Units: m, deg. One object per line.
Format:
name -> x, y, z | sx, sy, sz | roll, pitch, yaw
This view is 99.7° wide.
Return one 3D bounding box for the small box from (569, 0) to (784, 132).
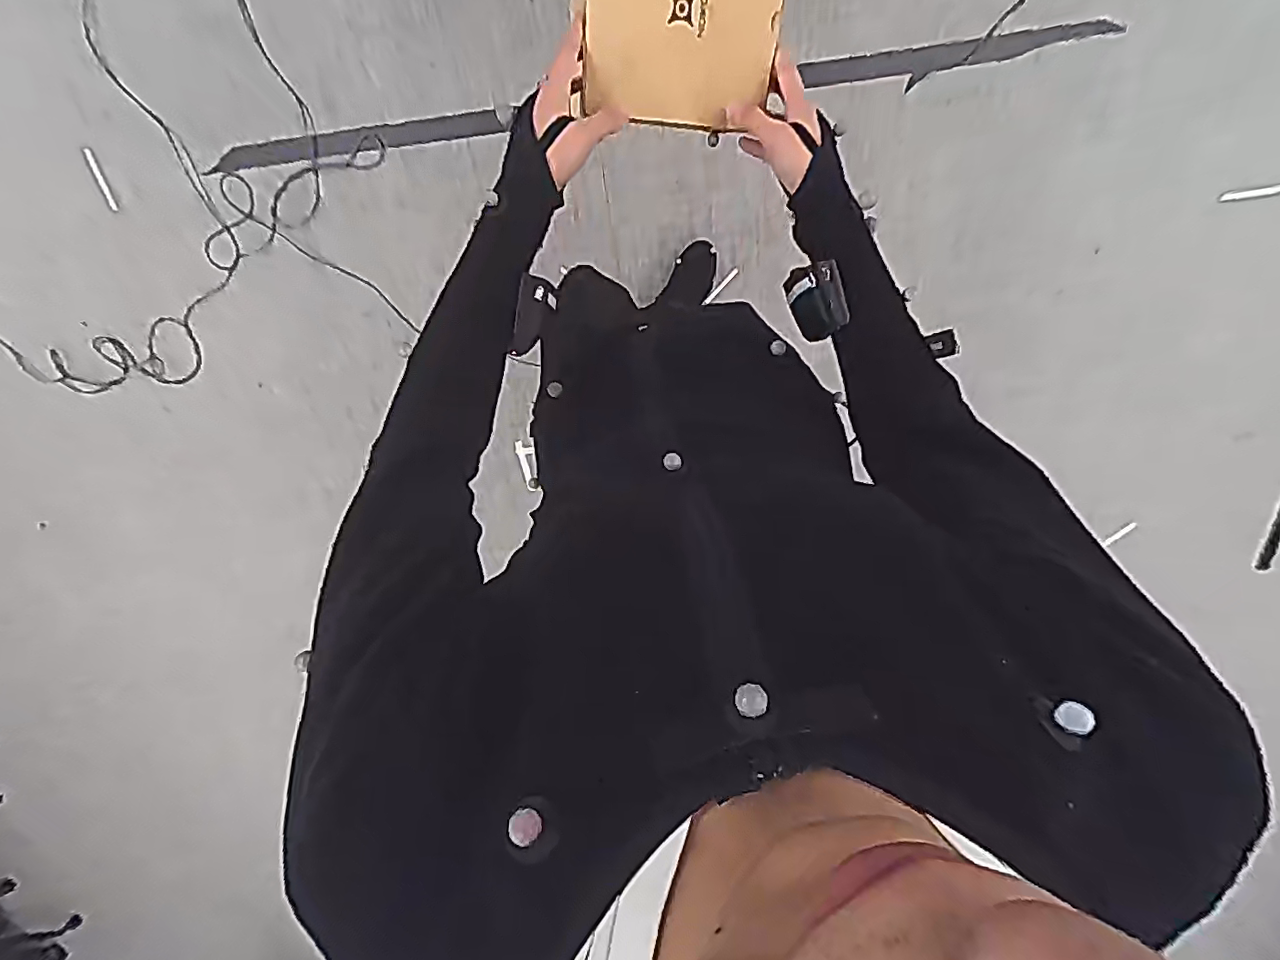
small box -> 0.024, -0.442, 0.523 | 0.179, 0.176, 0.168 | -3, 123, -12
